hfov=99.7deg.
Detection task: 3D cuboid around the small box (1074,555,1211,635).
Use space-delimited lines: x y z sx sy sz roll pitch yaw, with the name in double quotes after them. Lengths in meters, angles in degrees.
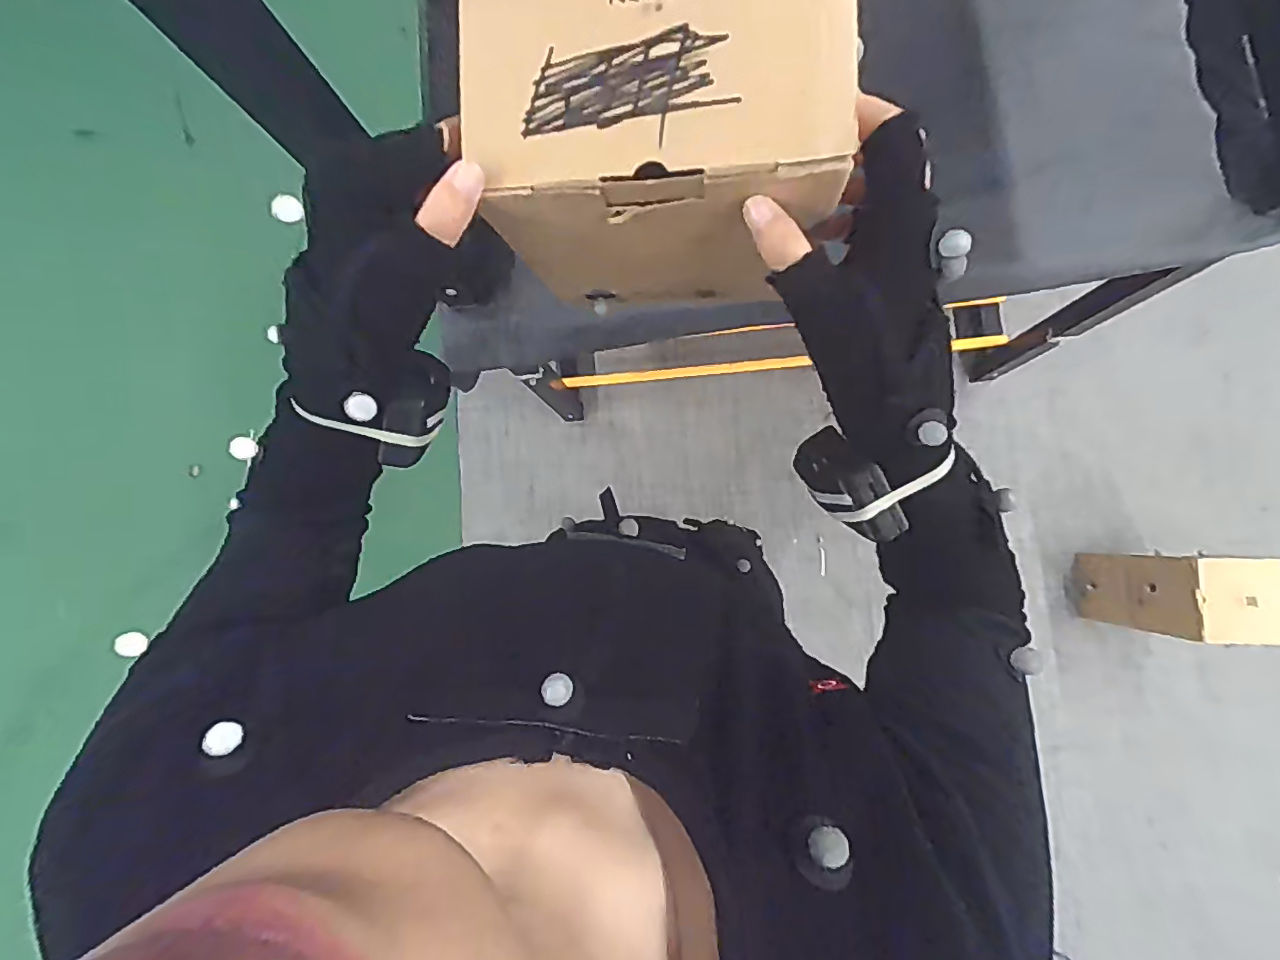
1.186 0.267 1.288 0.179 0.176 0.168 1 83 6 "small box"
